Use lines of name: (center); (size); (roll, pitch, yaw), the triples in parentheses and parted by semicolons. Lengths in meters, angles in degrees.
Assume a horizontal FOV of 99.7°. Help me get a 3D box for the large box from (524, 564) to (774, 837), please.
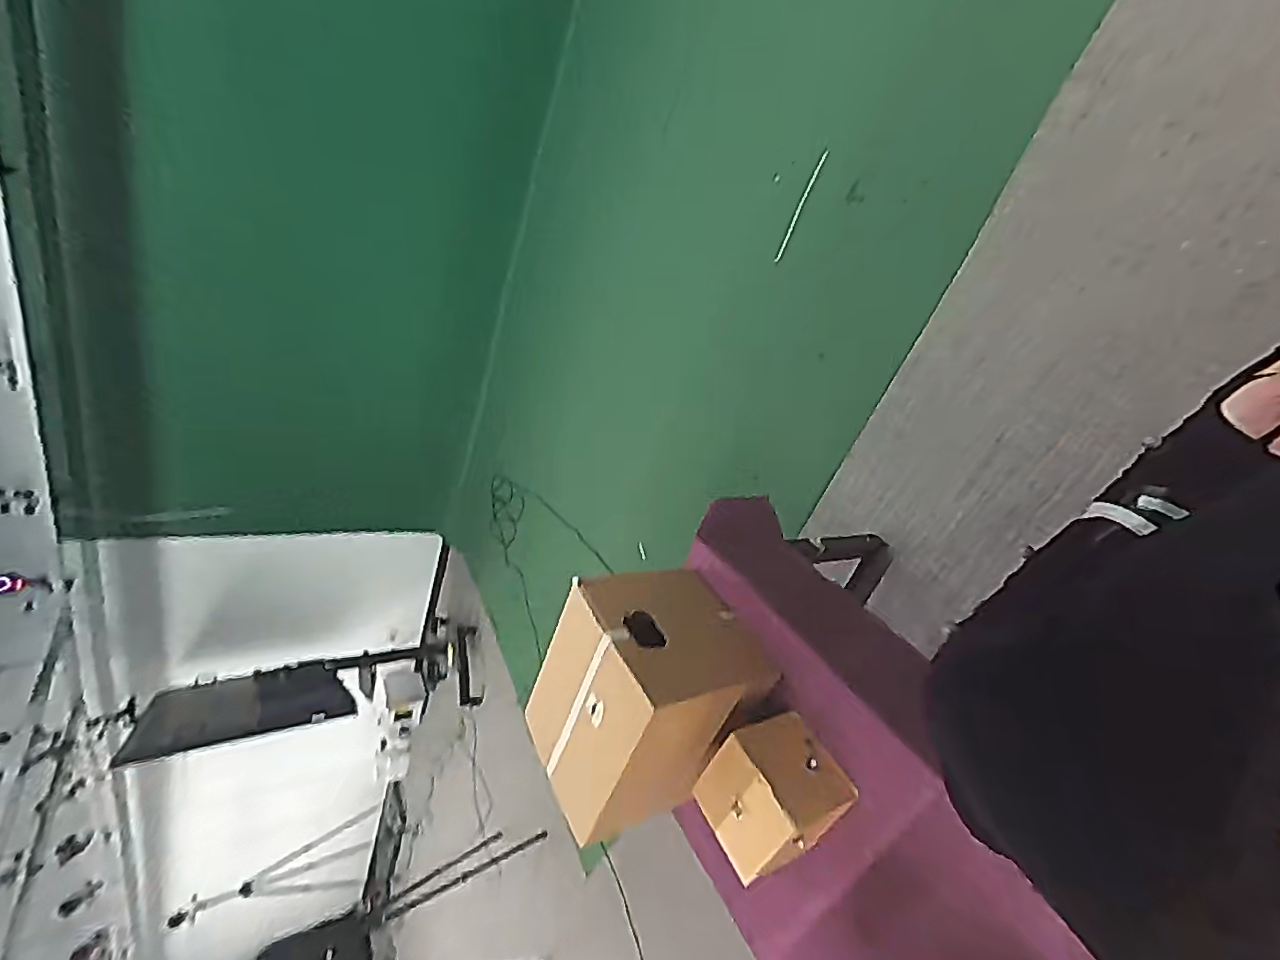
large box: (0.001, 0.428, 1.120); (0.320, 0.320, 0.408); (47, 124, 43)
